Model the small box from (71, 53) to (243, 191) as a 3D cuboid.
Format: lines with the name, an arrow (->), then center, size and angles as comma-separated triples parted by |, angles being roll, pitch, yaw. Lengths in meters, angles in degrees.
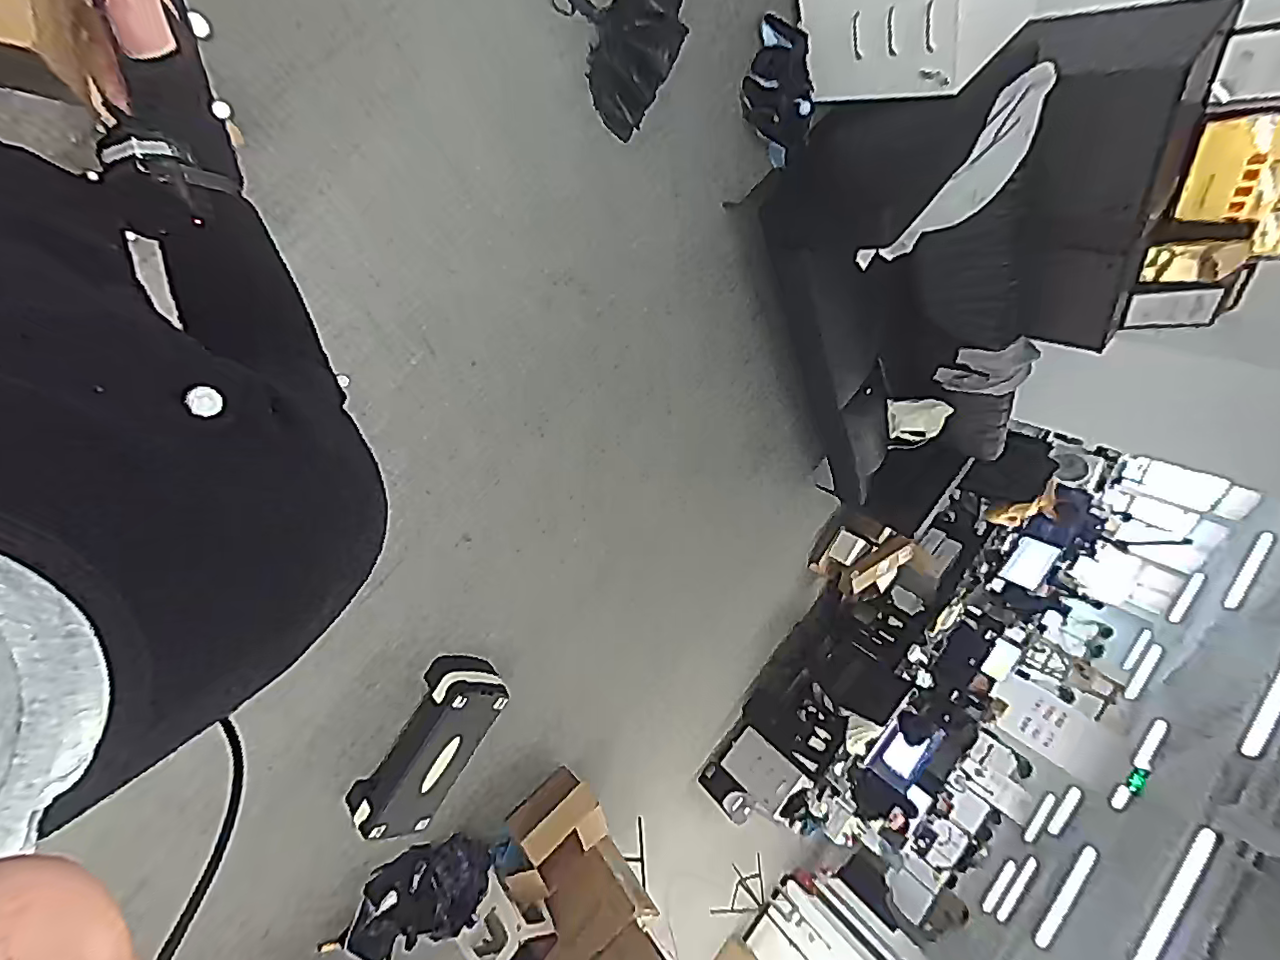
small box -> -0.901, -0.667, 1.013 | 0.179, 0.176, 0.168 | -41, 136, -19
